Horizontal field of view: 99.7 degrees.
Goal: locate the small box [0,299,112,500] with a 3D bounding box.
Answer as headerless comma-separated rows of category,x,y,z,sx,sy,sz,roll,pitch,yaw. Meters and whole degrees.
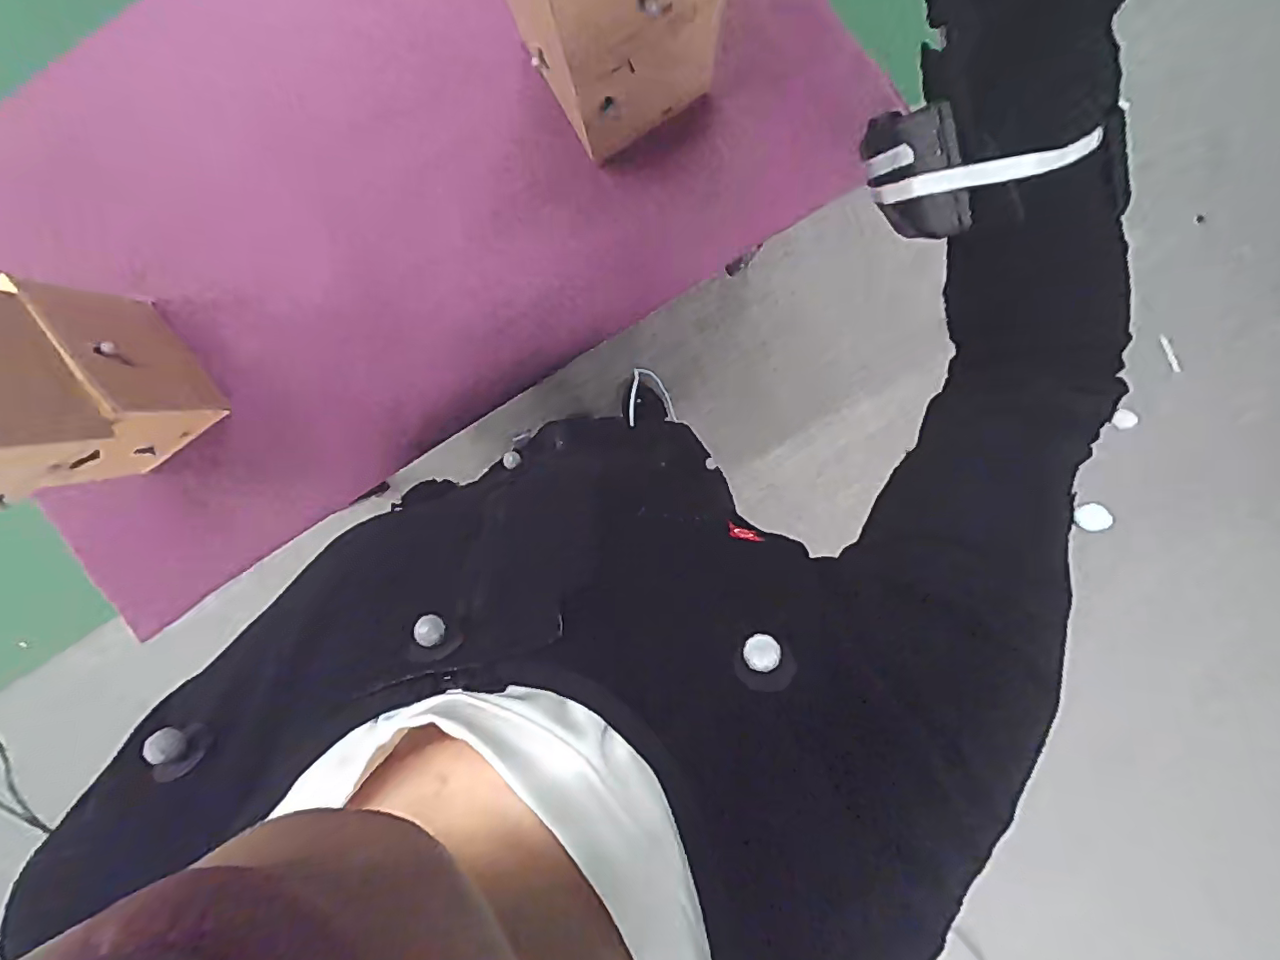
small box,-0.677,-0.068,0.507,0.168,0.176,0.179,-28,98,5

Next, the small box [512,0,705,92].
small box,-0.046,-0.466,0.423,0.168,0.176,0.179,-34,97,7

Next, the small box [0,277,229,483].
small box,-0.676,-0.115,0.665,0.168,0.176,0.179,-33,99,6
